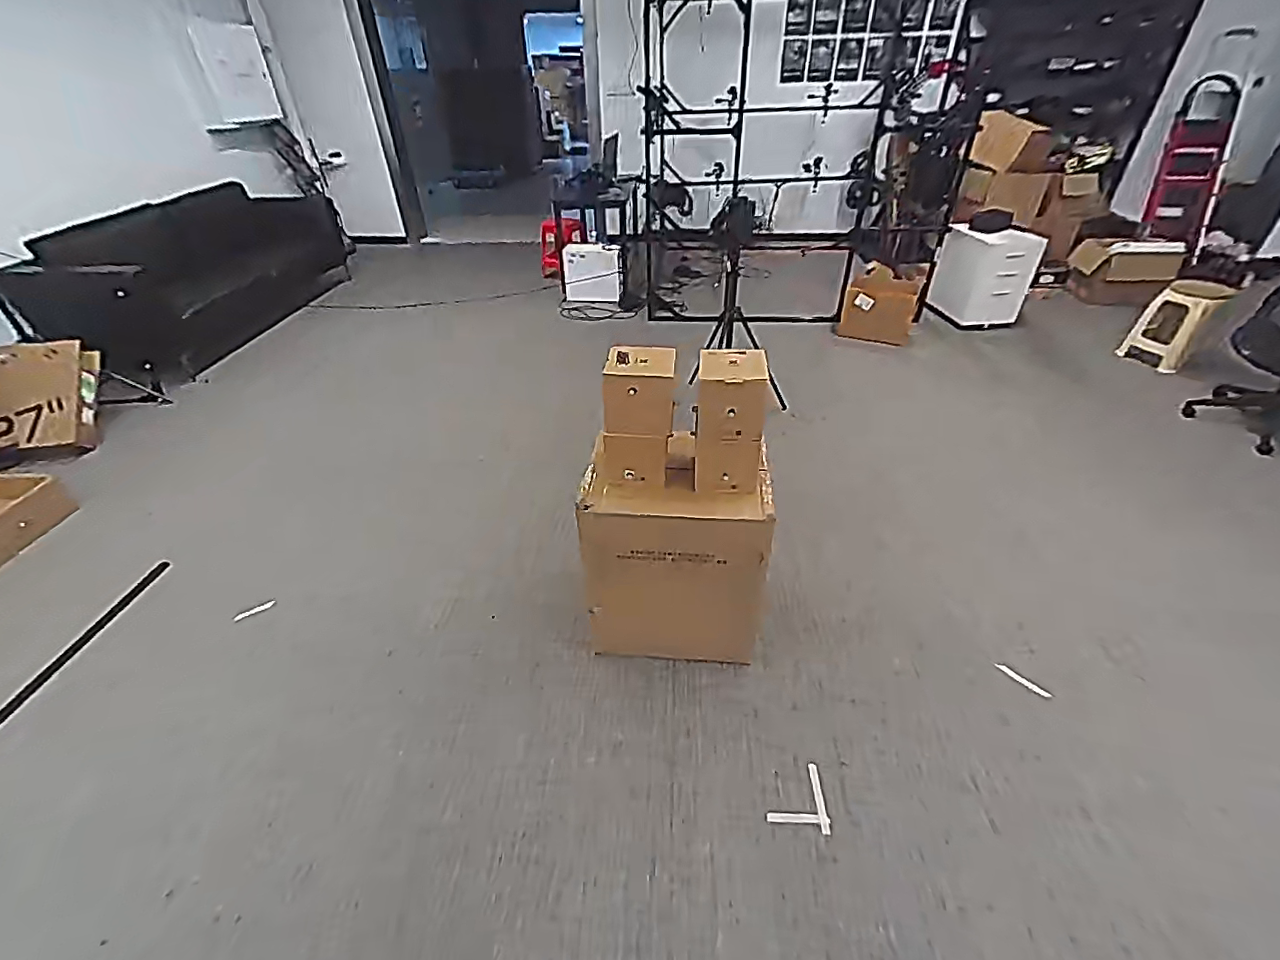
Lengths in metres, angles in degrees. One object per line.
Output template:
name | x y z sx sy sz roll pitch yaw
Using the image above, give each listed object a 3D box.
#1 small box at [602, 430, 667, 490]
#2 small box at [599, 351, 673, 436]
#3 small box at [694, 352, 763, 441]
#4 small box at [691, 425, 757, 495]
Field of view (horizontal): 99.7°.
small box | -0.011 -0.092 1.512 0.168 0.176 0.179 1 38 5
small box | -0.005 -0.227 1.417 0.179 0.176 0.168 3 37 4
small box | 0.223 -0.212 1.385 0.168 0.176 0.179 1 38 7
small box | 0.226 -0.079 1.481 0.168 0.176 0.179 1 37 6
